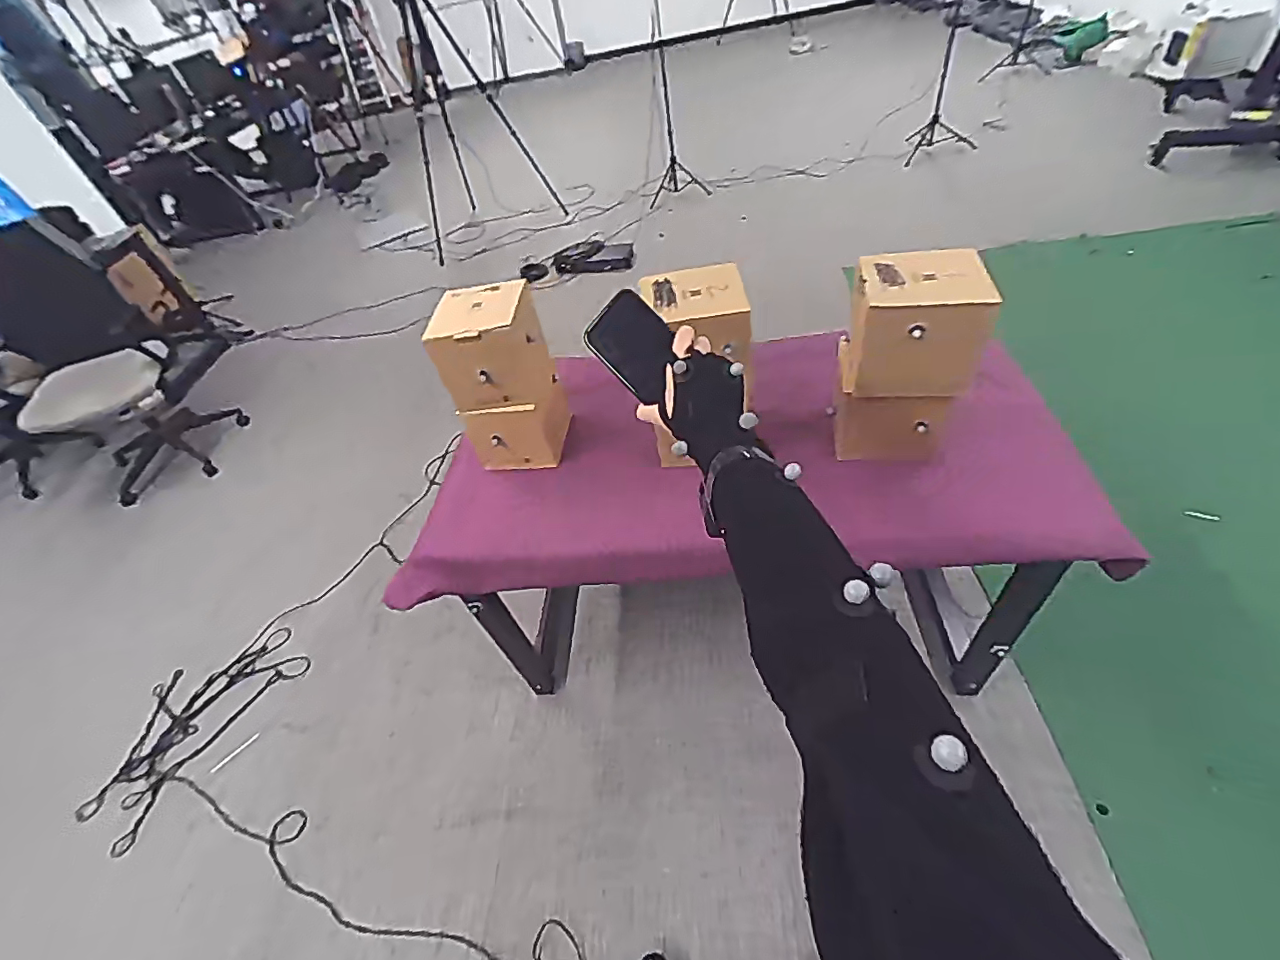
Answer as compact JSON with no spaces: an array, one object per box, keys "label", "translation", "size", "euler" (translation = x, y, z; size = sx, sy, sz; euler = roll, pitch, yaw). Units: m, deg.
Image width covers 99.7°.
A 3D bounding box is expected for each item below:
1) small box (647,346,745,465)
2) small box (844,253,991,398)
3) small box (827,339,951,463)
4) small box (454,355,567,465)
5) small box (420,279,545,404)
[{"label":"small box","translation":[0.116,-0.144,1.075],"size":[0.179,0.176,0.168],"euler":[-3,47,10]},{"label":"small box","translation":[0.431,-0.246,0.877],"size":[0.179,0.176,0.168],"euler":[2,48,14]},{"label":"small box","translation":[0.450,-0.146,1.007],"size":[0.179,0.176,0.168],"euler":[2,48,15]},{"label":"small box","translation":[-0.266,-0.143,1.158],"size":[0.168,0.176,0.179],"euler":[-2,47,10]},{"label":"small box","translation":[-0.291,-0.260,1.045],"size":[0.168,0.176,0.179],"euler":[-5,47,6]}]
